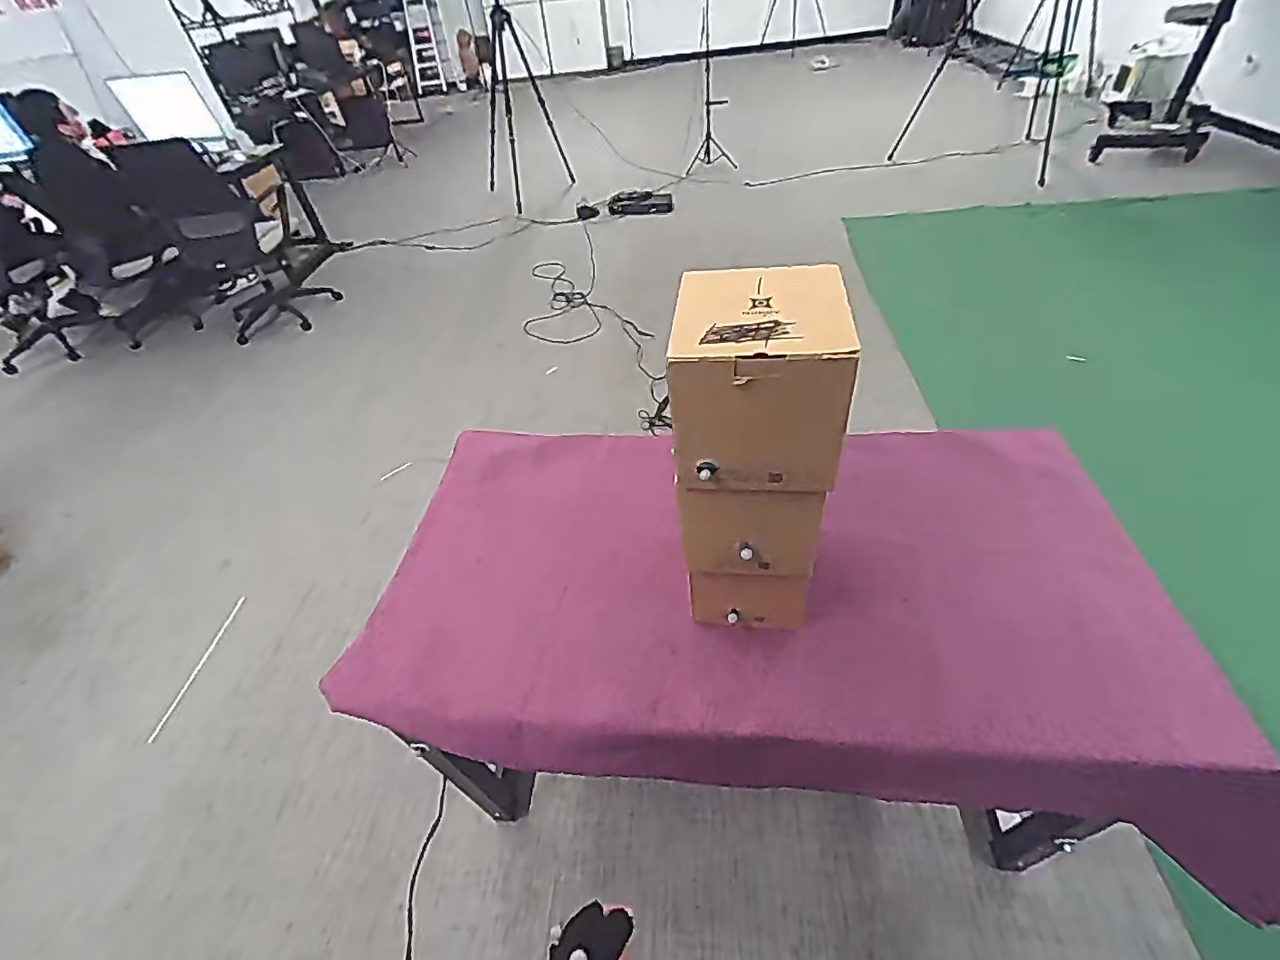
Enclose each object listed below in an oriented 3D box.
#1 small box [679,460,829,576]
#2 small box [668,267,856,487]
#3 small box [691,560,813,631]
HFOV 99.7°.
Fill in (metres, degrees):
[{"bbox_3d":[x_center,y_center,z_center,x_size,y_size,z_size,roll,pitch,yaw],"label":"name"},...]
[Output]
[{"bbox_3d":[0.144,0.002,0.705,0.168,0.176,0.179,1,45,11],"label":"small box"},{"bbox_3d":[0.128,-0.108,0.583,0.168,0.176,0.179,1,45,11],"label":"small box"},{"bbox_3d":[0.169,0.106,0.829,0.168,0.176,0.179,2,46,12],"label":"small box"}]
